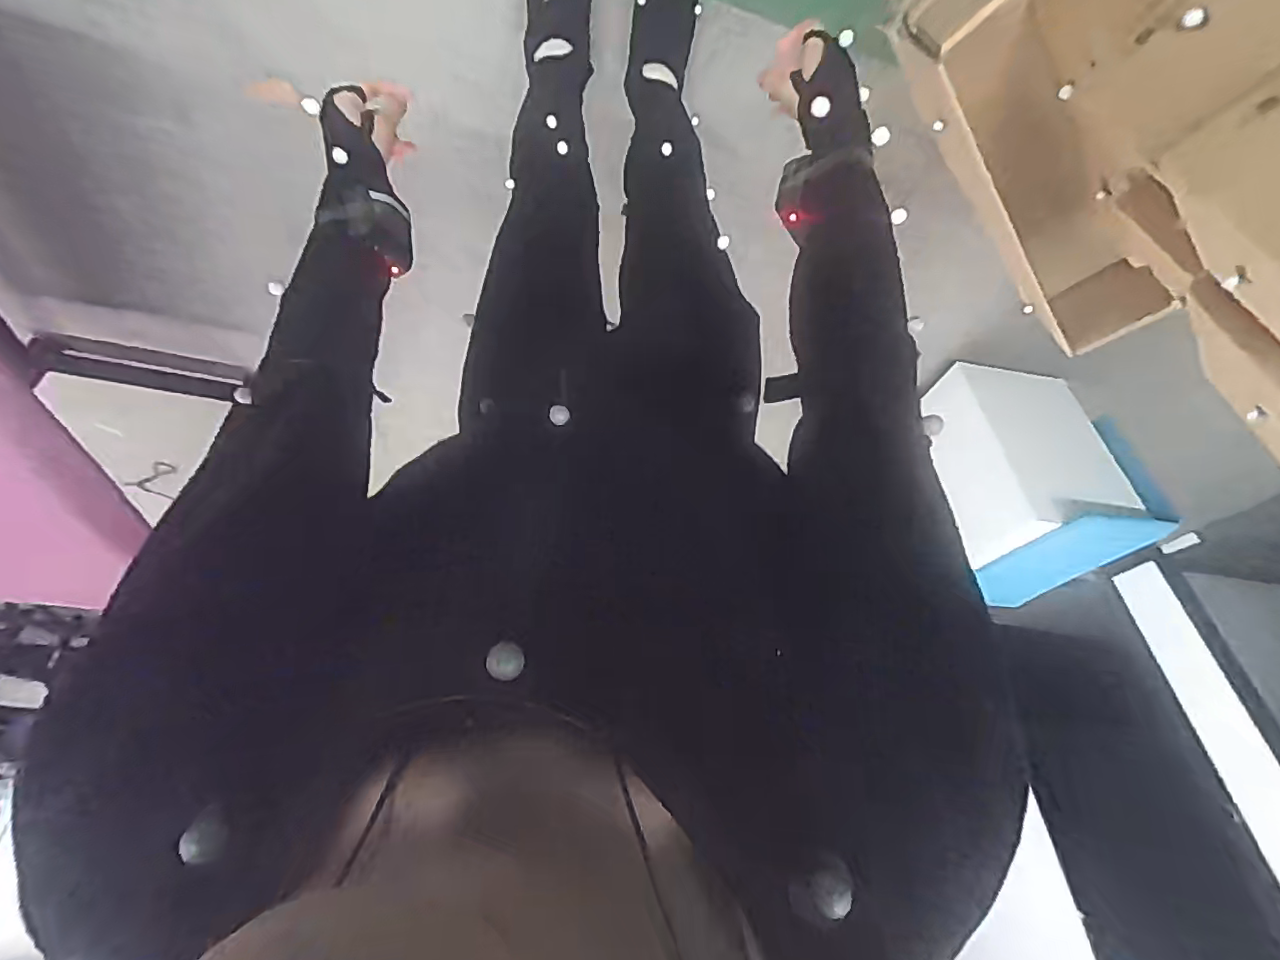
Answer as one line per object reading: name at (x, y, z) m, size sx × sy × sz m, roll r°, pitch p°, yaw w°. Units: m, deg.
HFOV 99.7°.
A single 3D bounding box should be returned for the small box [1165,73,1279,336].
small box at (0.555, -0.215, 0.402) m, size 0.179 × 0.176 × 0.168 m, roll 23°, pitch 138°, yaw -31°
